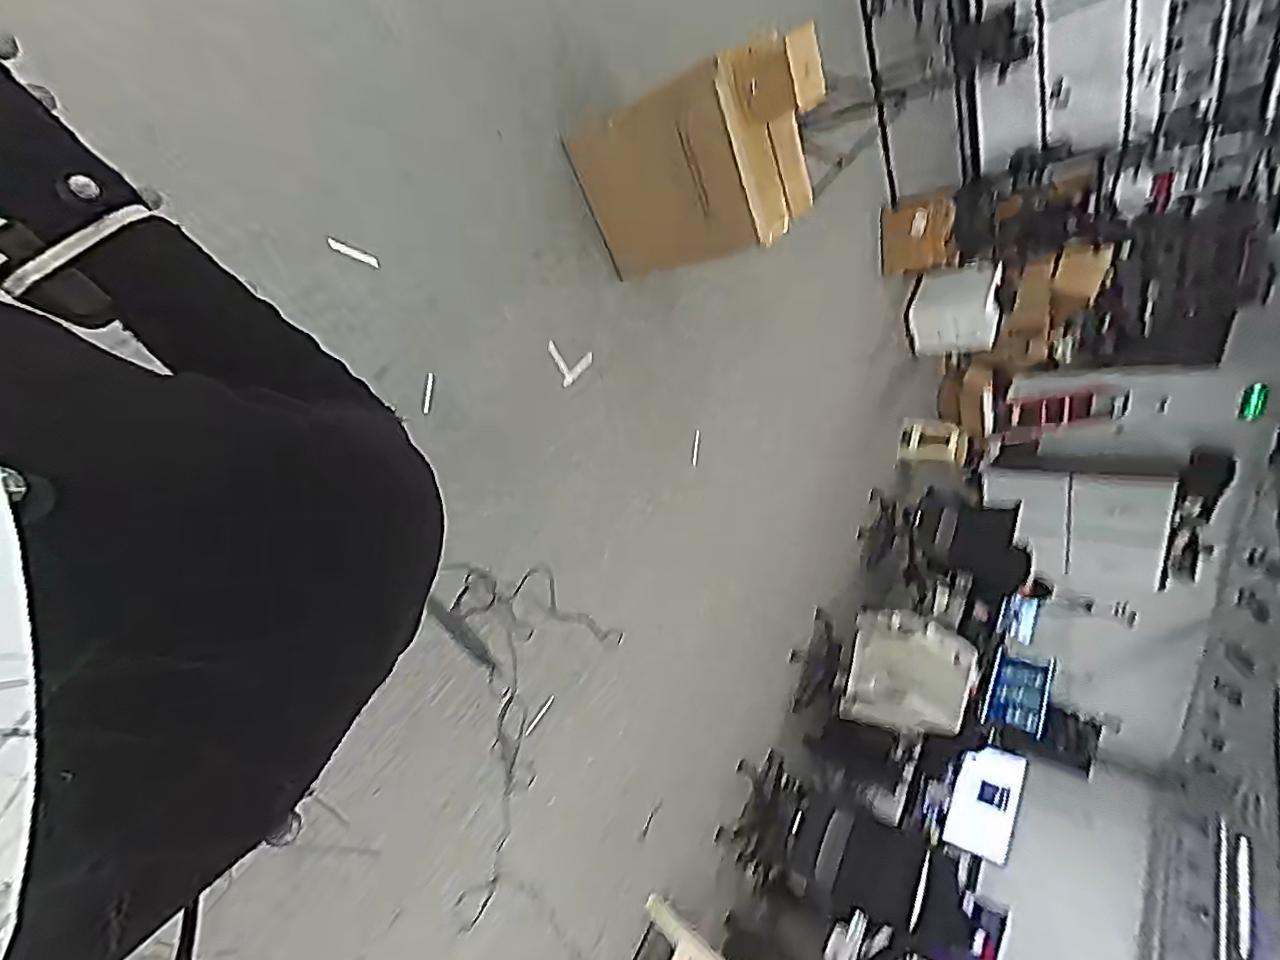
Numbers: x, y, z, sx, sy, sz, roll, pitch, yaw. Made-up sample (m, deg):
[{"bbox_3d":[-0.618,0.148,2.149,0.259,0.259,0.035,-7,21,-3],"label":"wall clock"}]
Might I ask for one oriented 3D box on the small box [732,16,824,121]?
[{"bbox_3d":[0.382,-1.136,1.500,0.179,0.176,0.168,-48,127,-28],"label":"small box"}]
